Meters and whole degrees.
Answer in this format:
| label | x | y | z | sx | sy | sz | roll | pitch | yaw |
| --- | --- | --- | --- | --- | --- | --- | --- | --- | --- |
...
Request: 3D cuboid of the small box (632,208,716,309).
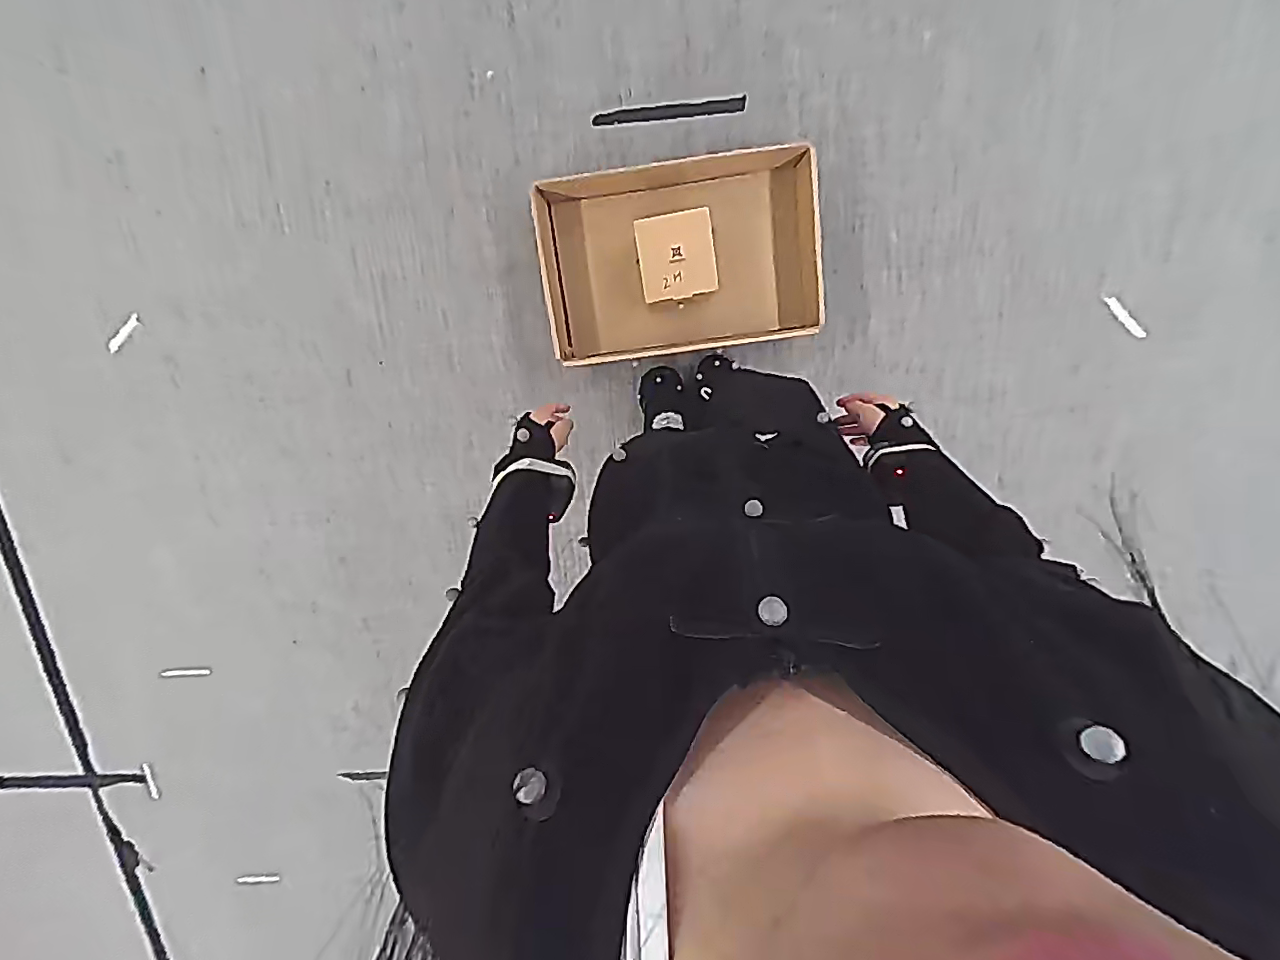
| label | x | y | z | sx | sy | sz | roll | pitch | yaw |
| --- | --- | --- | --- | --- | --- | --- | --- | --- | --- |
| small box | 0.075 | -0.502 | 1.247 | 0.168 | 0.176 | 0.179 | -9 | 103 | 4 |
